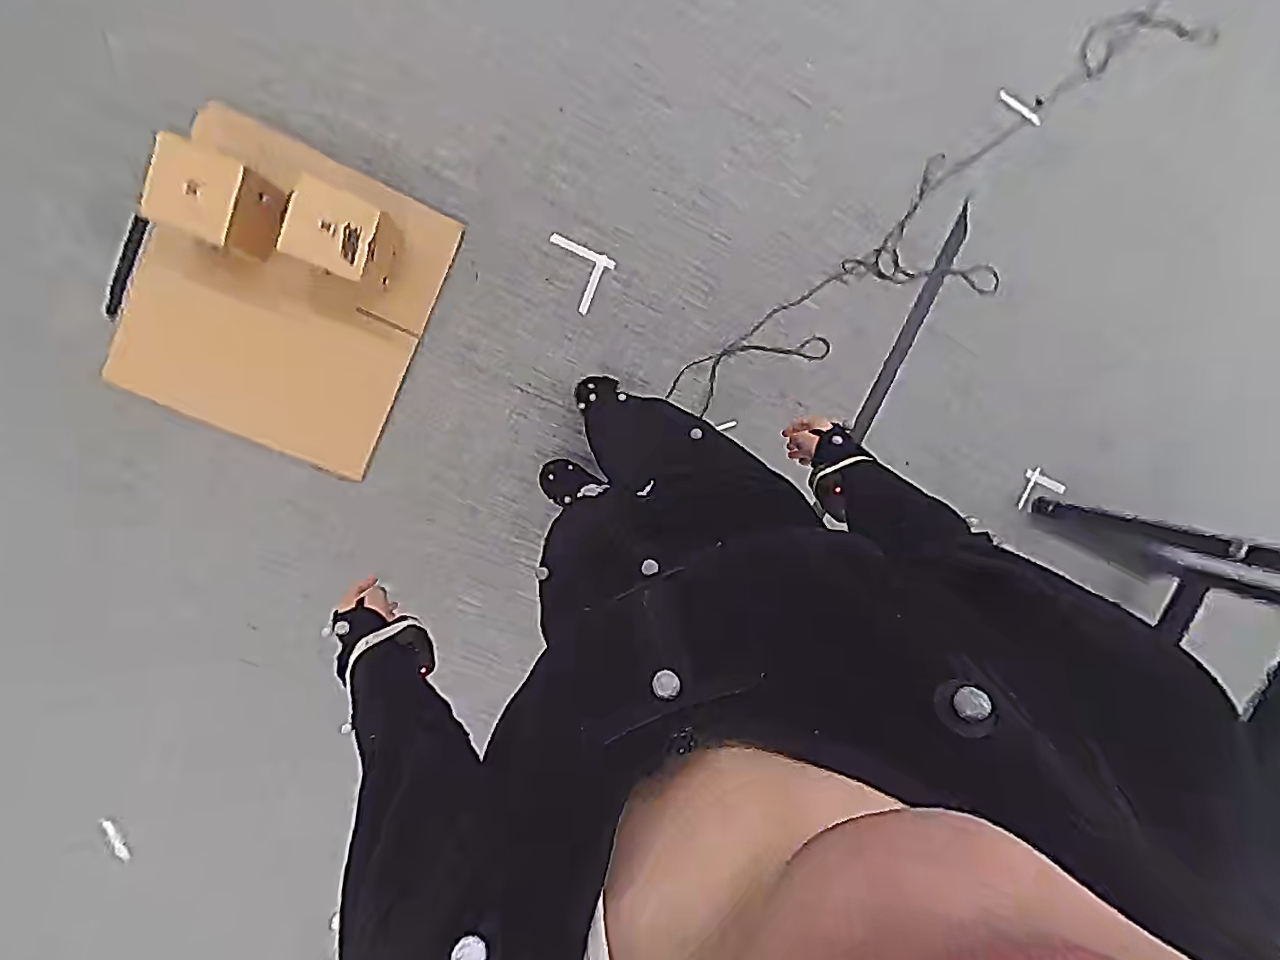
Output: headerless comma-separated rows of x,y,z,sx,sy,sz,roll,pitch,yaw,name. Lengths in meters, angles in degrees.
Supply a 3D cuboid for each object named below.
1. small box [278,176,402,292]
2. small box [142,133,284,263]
-0.662,-0.539,1.216,0.179,0.176,0.168,20,96,-11,small box
-0.911,-0.598,1.172,0.168,0.176,0.179,17,97,-9,small box
